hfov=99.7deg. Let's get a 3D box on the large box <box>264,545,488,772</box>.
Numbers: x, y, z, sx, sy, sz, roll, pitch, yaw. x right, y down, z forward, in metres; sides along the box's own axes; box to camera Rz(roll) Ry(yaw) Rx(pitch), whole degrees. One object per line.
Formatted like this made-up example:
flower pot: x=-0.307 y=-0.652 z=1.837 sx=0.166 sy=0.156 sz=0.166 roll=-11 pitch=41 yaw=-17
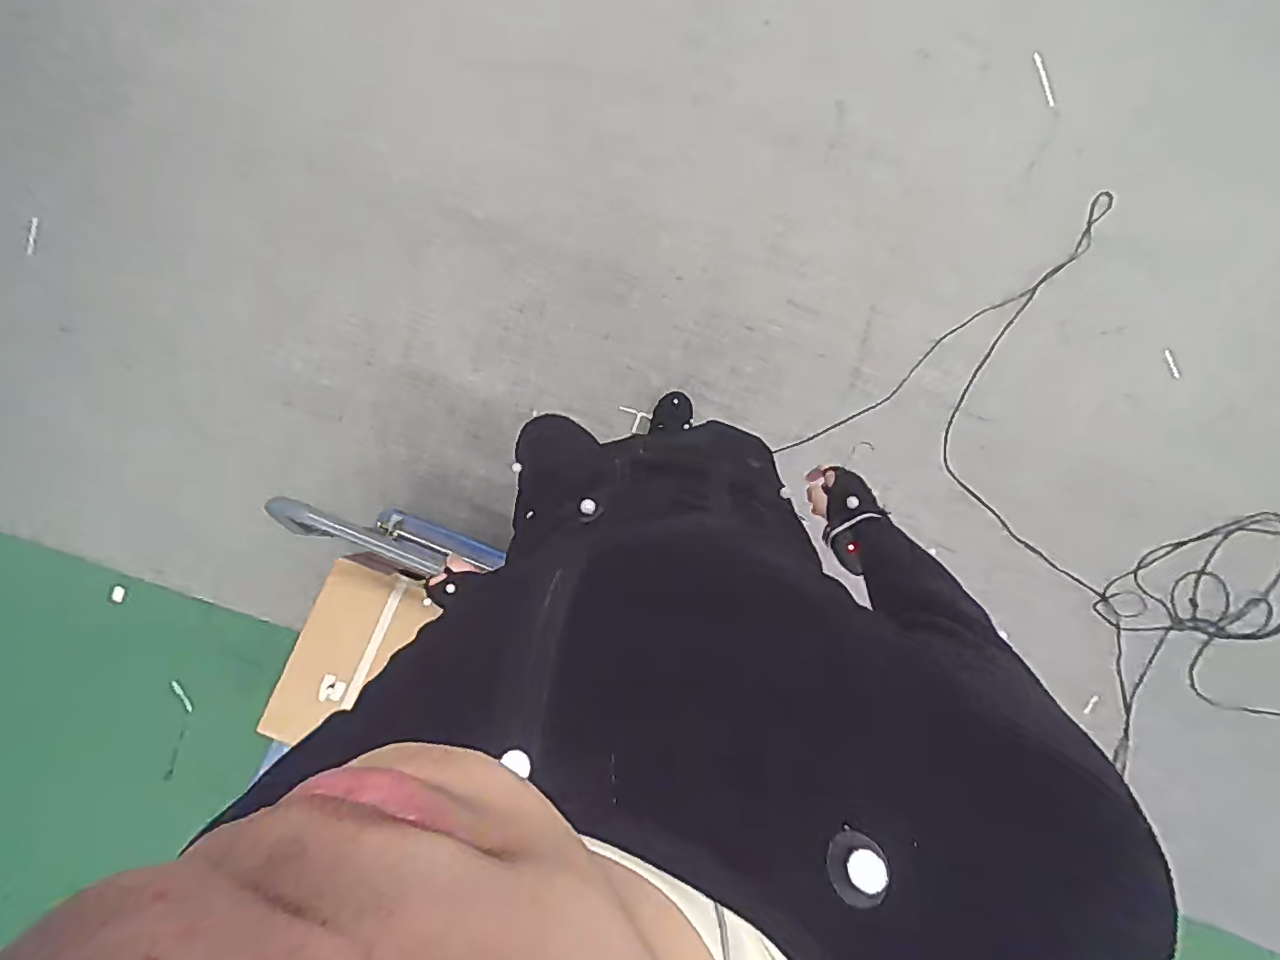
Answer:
large box: x=-0.609 y=0.405 z=1.326 sx=0.320 sy=0.320 sz=0.408 roll=23 pitch=85 yaw=-5
